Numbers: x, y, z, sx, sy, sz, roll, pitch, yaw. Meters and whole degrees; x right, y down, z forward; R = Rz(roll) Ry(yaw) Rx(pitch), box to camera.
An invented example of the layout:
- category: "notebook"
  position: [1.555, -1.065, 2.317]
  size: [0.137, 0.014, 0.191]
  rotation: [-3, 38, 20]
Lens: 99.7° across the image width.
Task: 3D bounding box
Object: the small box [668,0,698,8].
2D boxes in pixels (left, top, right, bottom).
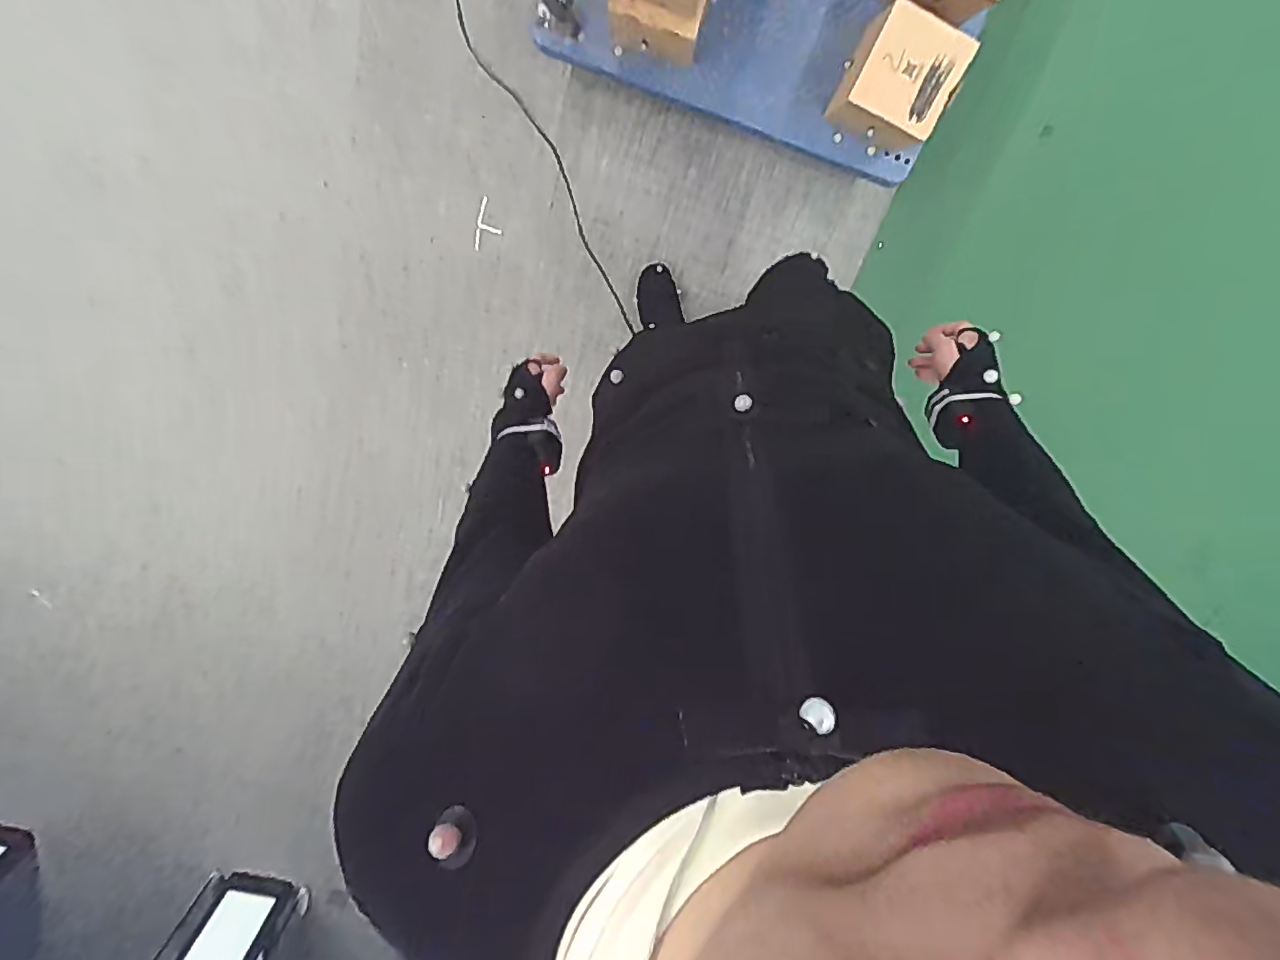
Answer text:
- category: "small box"
  position: [0.043, -0.885, 0.836]
  size: [0.168, 0.176, 0.179]
  rotation: [16, 113, -7]

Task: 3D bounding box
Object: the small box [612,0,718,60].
- category: "small box"
  position: [0.039, -0.936, 1.002]
  size: [0.168, 0.176, 0.179]
  rotation: [-38, 108, 18]

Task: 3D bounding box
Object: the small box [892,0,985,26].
- category: "small box"
  position: [0.570, -0.965, 0.970]
  size: [0.179, 0.176, 0.168]
  rotation: [19, 114, -7]
